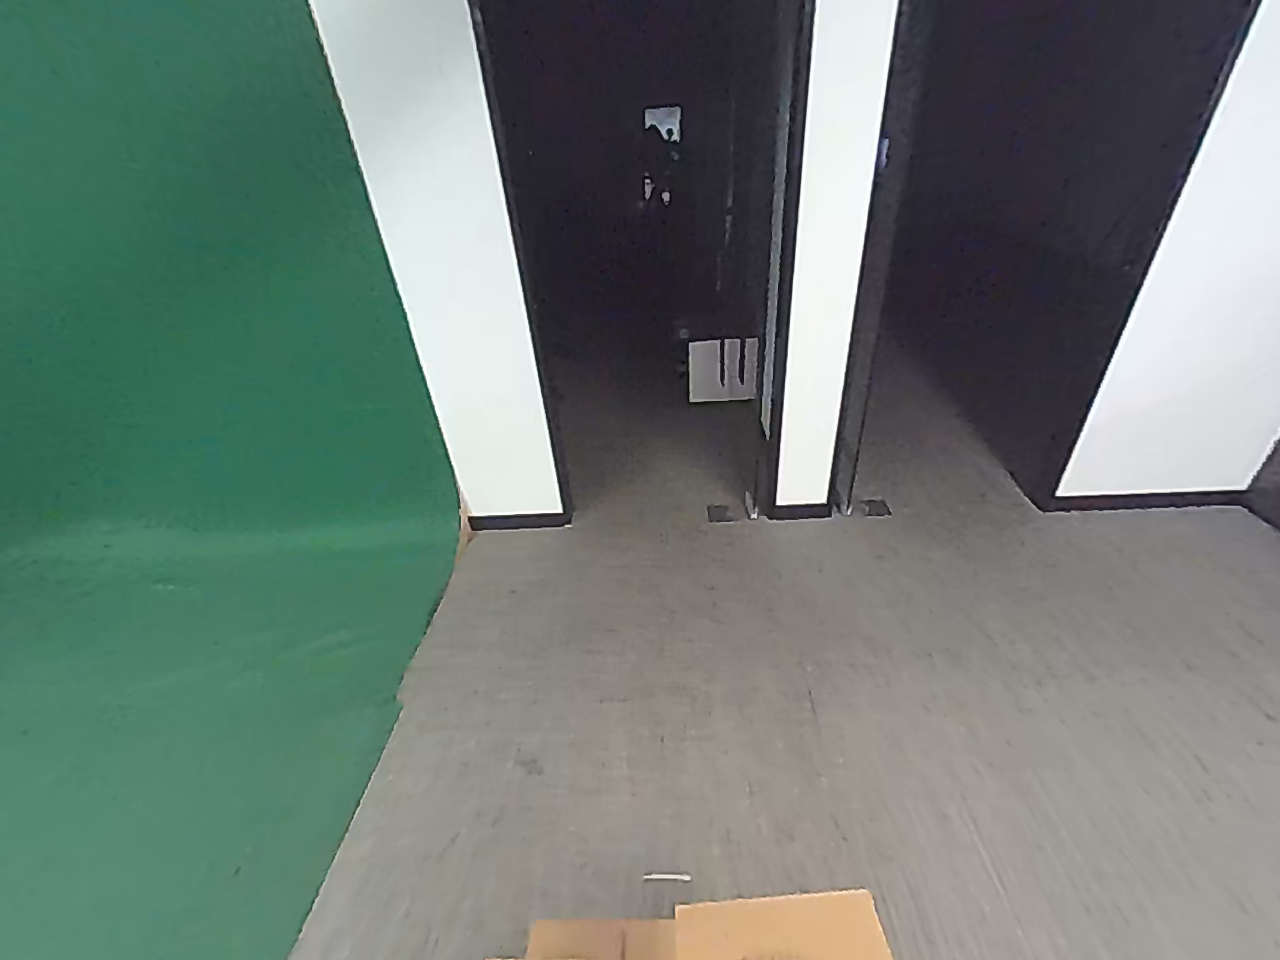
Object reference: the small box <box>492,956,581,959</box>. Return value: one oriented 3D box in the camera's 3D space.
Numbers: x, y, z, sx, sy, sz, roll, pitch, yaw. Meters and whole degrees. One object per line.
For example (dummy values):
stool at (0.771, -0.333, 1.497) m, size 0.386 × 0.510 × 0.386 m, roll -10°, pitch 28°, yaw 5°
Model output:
small box at (-0.121, 0.759, 0.702) m, size 0.168 × 0.176 × 0.179 m, roll -2°, pitch 36°, yaw 3°

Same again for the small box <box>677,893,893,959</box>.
small box at (0.124, 0.461, 0.407) m, size 0.168 × 0.176 × 0.179 m, roll -9°, pitch 24°, yaw 5°
